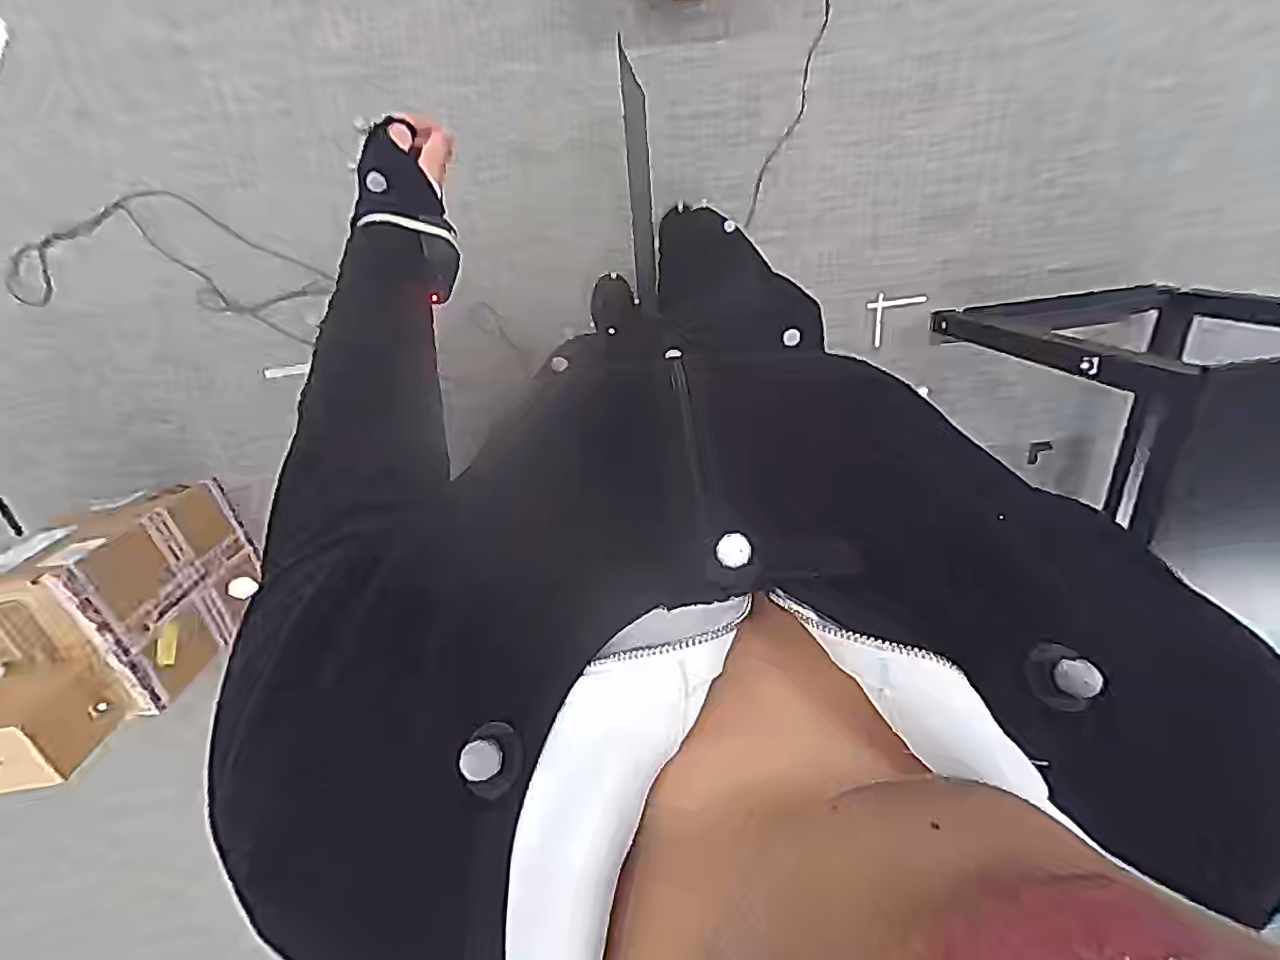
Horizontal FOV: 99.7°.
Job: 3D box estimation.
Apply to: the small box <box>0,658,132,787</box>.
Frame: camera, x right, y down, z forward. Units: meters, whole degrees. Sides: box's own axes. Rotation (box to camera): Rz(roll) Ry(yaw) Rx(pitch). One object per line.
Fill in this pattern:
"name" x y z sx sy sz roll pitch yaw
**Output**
"small box" -1.235 0.497 1.120 0.179 0.176 0.168 -9 116 -4
